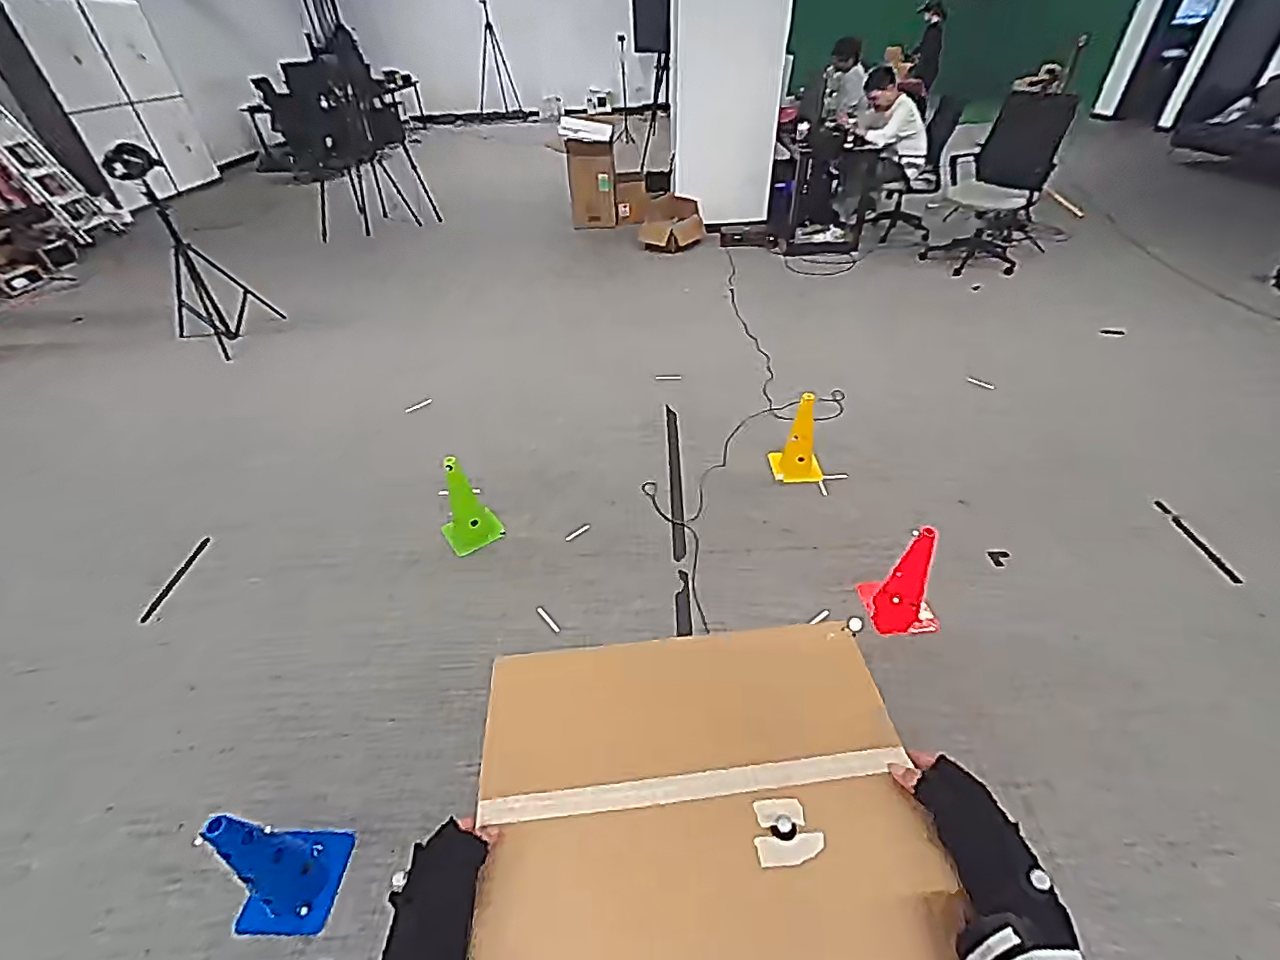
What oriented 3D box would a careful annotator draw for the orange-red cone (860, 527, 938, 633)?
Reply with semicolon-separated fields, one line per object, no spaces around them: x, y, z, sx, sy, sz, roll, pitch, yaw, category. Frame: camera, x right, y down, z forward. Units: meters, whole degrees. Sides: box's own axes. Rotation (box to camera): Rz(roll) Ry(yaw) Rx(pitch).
0.832;0.281;1.649;0.198;0.360;0.199;-3;39;-1;orange-red cone

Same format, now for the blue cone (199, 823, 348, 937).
-0.802;0.814;1.149;0.192;0.380;0.193;-1;40;5;blue cone

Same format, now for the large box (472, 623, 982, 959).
0.054;0.399;0.609;0.408;0.320;0.320;-5;42;-4;large box

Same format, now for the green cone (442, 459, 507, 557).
-0.653;0.071;1.990;0.202;0.368;0.200;-29;46;-25;green cone
